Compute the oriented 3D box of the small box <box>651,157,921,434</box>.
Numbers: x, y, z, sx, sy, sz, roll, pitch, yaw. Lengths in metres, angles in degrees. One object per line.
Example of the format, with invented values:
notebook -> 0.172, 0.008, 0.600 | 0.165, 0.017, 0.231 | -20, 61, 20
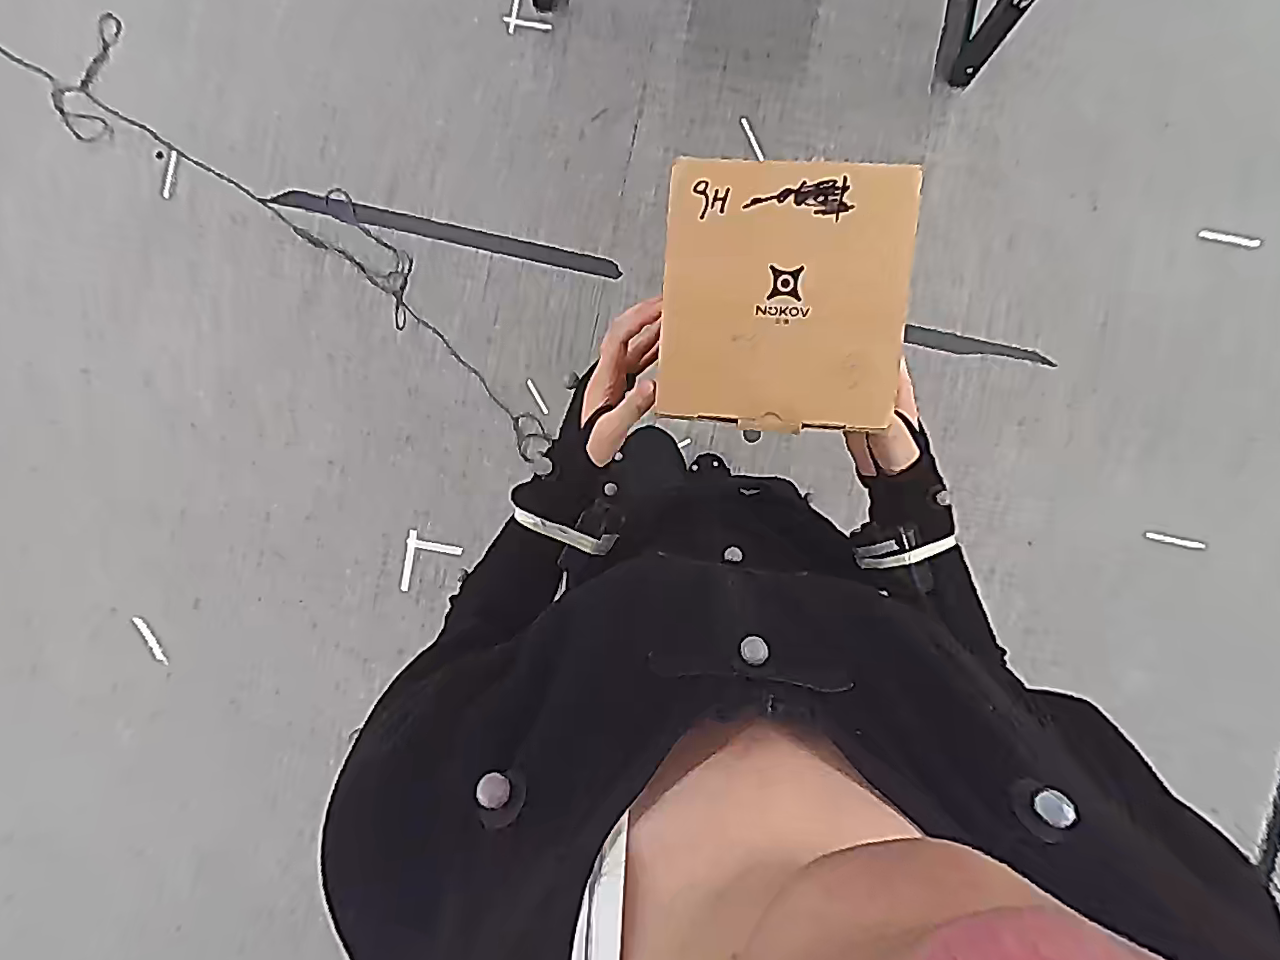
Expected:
small box -> 0.102, -0.135, 0.447 | 0.168, 0.176, 0.179 | 4, 98, 4
